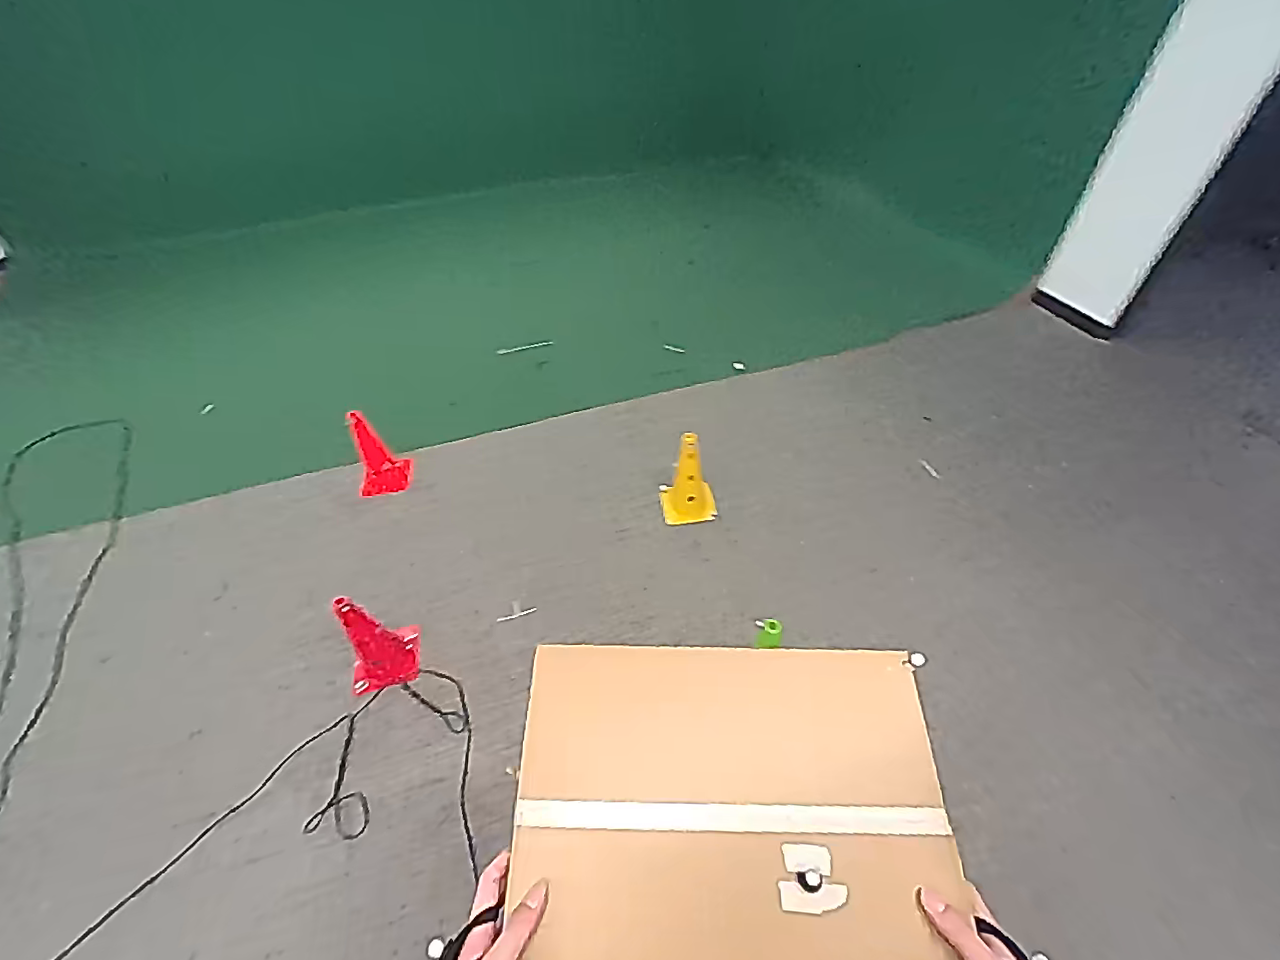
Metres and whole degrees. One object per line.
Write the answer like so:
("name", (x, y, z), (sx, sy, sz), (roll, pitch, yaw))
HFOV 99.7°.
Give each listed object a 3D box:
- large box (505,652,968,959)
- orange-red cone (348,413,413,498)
("large box", (0.079, 0.403, 0.640), (0.408, 0.320, 0.320), (0, 58, 0))
("orange-red cone", (-1.097, -0.124, 2.206), (0.199, 0.360, 0.198), (-10, 46, -4))
